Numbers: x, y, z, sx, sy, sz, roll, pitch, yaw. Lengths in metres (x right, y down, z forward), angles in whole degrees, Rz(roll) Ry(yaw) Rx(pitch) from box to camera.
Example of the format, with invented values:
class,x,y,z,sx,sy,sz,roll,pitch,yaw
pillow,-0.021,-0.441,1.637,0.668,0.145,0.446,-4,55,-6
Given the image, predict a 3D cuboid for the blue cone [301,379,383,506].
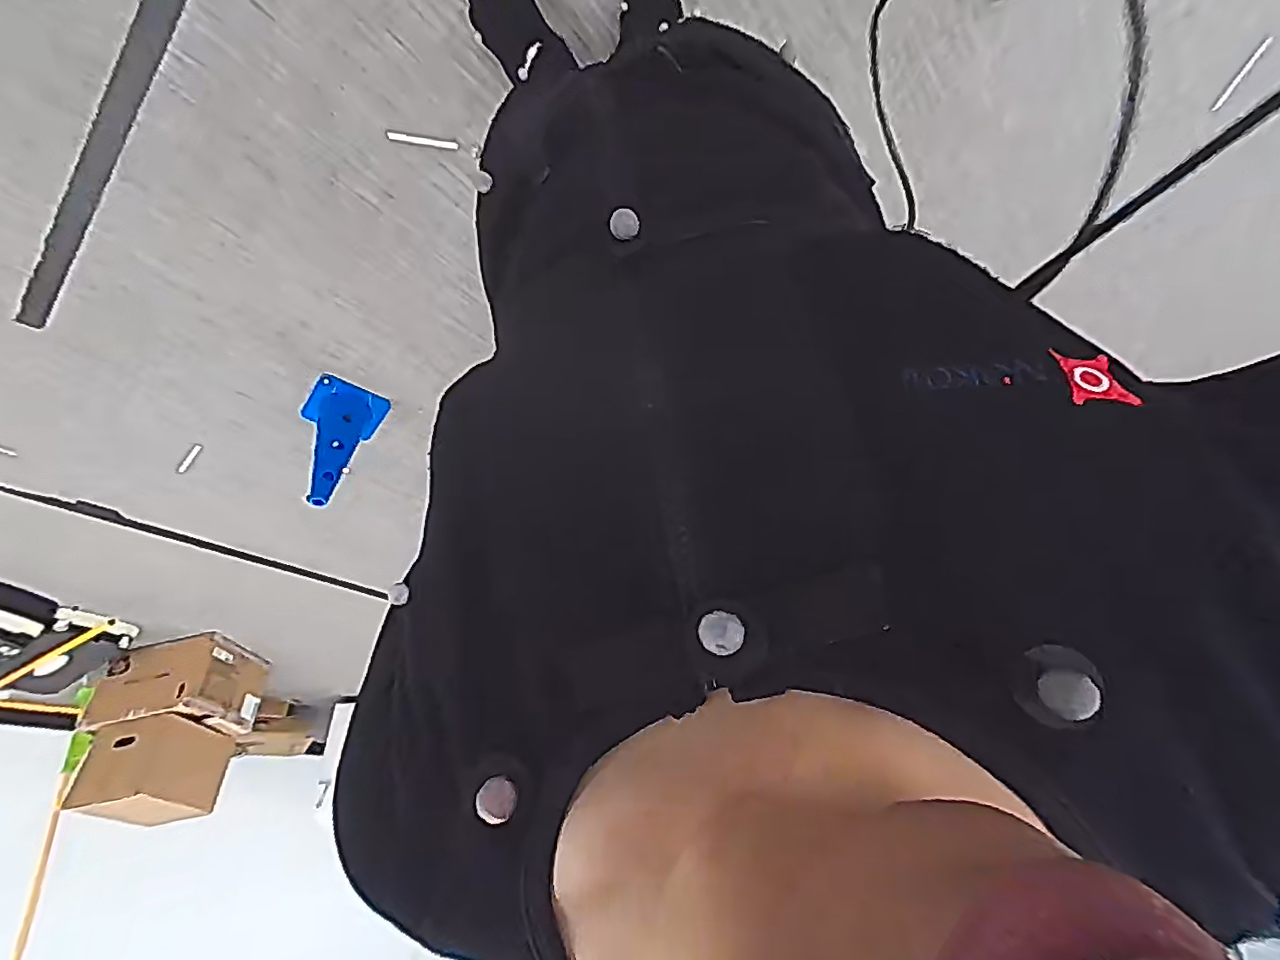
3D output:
class,x,y,z,sx,sy,sz,roll,pitch,yaw
blue cone,-0.859,-0.081,1.498,0.192,0.380,0.193,27,128,-35
